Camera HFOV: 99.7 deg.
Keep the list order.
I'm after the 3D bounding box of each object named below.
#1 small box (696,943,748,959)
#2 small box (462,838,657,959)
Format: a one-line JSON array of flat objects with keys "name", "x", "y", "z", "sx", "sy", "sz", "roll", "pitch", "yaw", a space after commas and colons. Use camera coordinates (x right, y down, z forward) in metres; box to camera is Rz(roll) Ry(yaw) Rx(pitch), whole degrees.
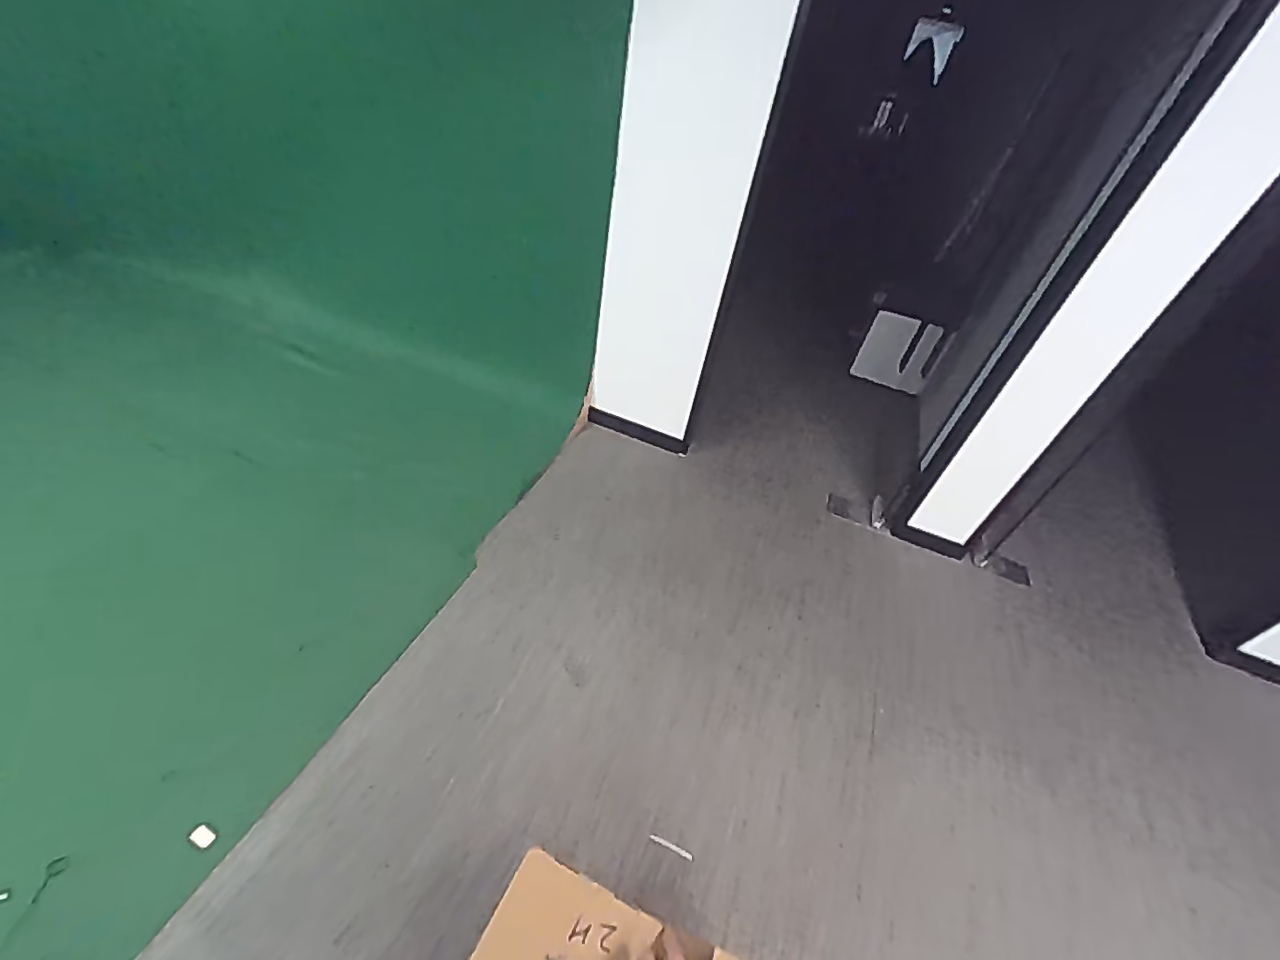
[{"name": "small box", "x": 0.128, "y": 0.732, "z": 0.677, "sx": 0.179, "sy": 0.176, "sz": 0.168, "roll": 20, "pitch": 41, "yaw": 11}, {"name": "small box", "x": -0.101, "y": 0.540, "z": 0.583, "sx": 0.168, "sy": 0.176, "sz": 0.179, "roll": 25, "pitch": 44, "yaw": 12}]
